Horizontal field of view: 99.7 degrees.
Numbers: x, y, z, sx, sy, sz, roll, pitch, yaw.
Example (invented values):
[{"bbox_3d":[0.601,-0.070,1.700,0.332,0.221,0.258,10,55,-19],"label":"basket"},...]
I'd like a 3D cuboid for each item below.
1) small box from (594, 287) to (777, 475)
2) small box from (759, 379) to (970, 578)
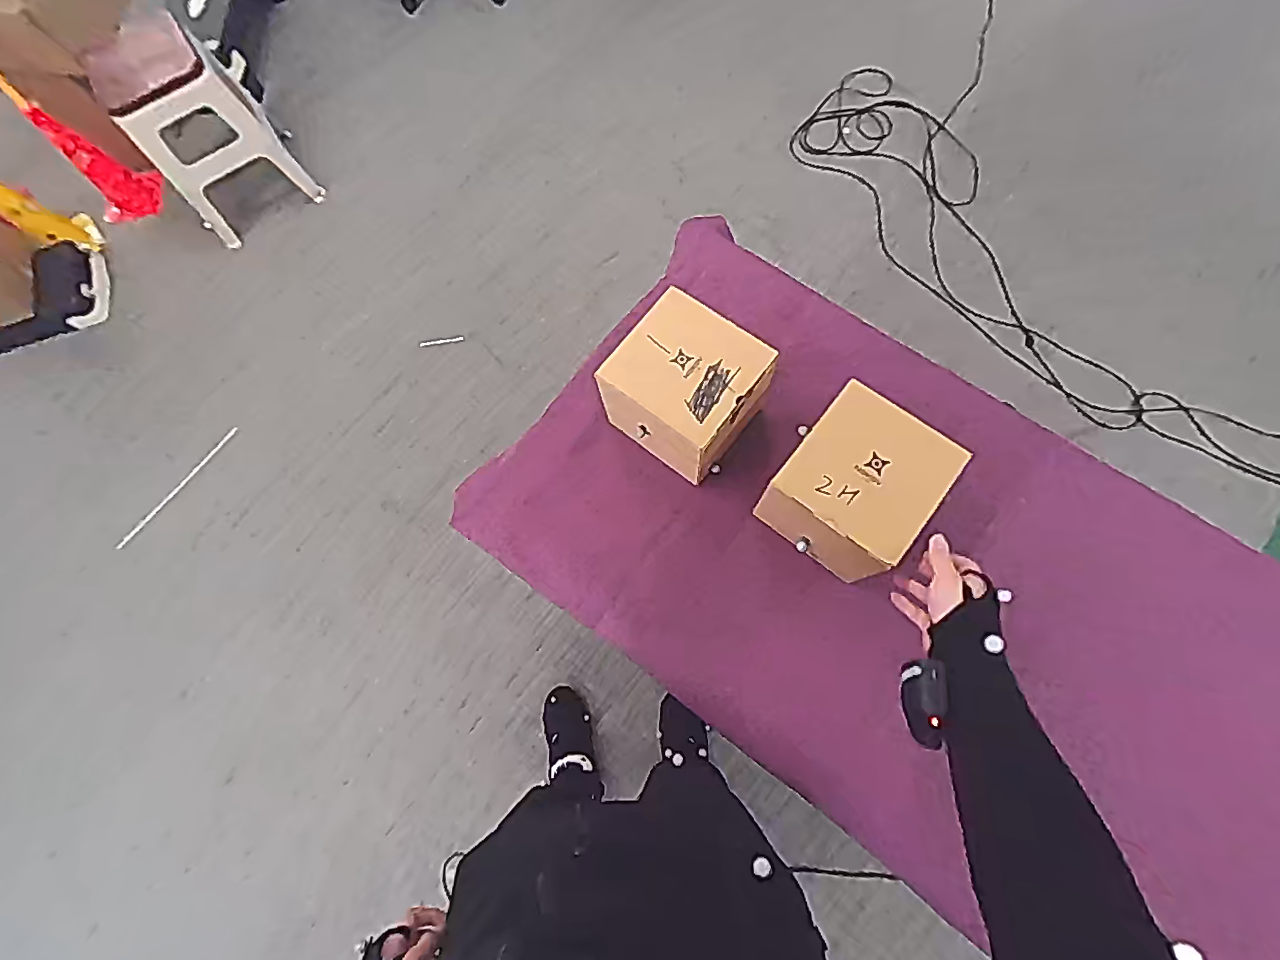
[{"bbox_3d":[0.063,-0.125,0.761,0.179,0.176,0.168,37,80,13],"label":"small box"},{"bbox_3d":[0.276,0.008,0.710,0.168,0.176,0.179,38,80,13],"label":"small box"}]
